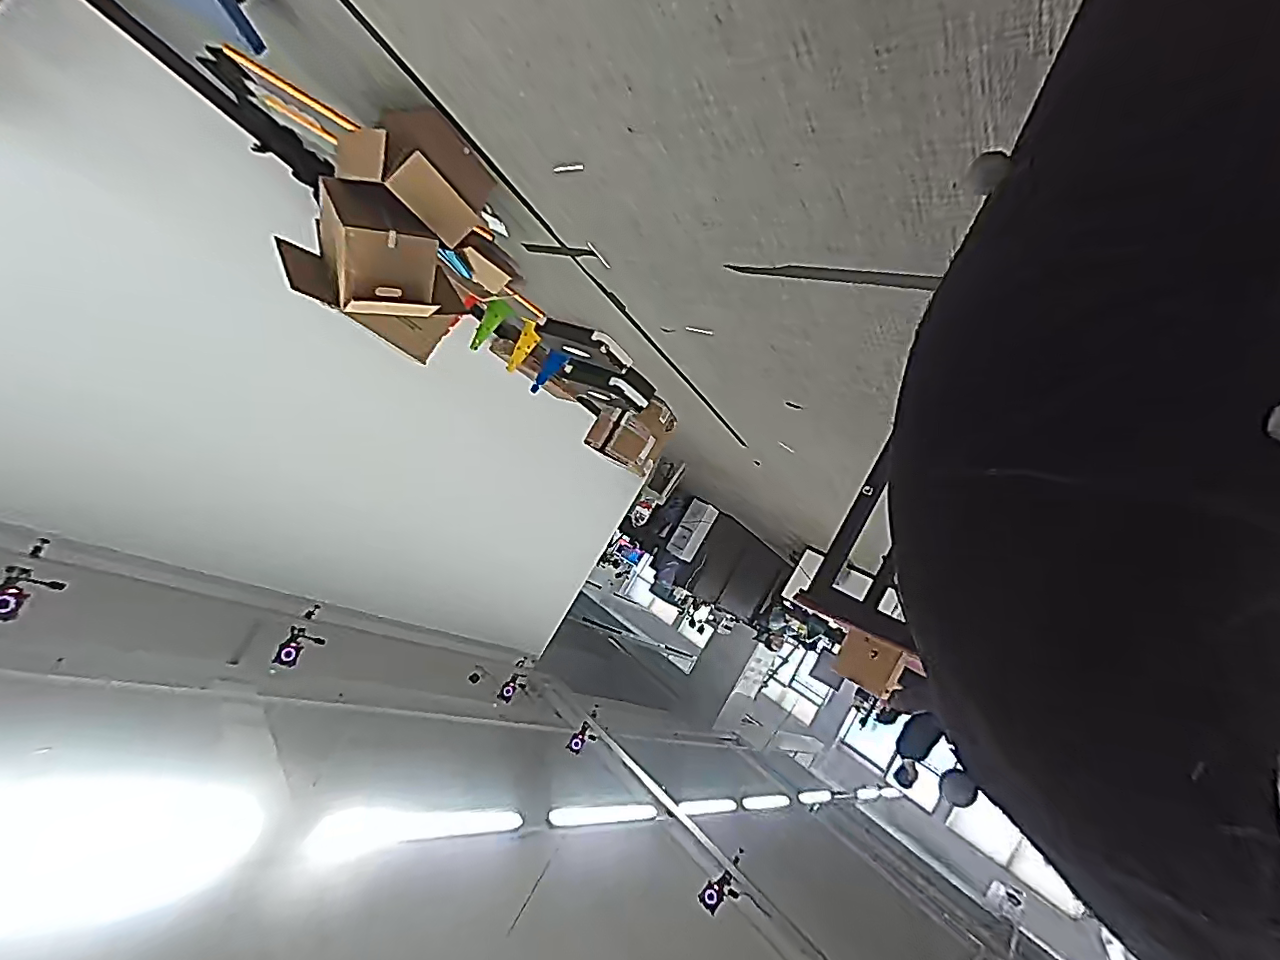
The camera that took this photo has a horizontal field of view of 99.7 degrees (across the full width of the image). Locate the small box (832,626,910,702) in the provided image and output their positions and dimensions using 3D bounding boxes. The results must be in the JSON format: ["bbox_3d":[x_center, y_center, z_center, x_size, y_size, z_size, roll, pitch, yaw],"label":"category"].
[{"bbox_3d":[0.753,0.594,1.752,0.168,0.176,0.179,26,174,38],"label":"small box"}]
